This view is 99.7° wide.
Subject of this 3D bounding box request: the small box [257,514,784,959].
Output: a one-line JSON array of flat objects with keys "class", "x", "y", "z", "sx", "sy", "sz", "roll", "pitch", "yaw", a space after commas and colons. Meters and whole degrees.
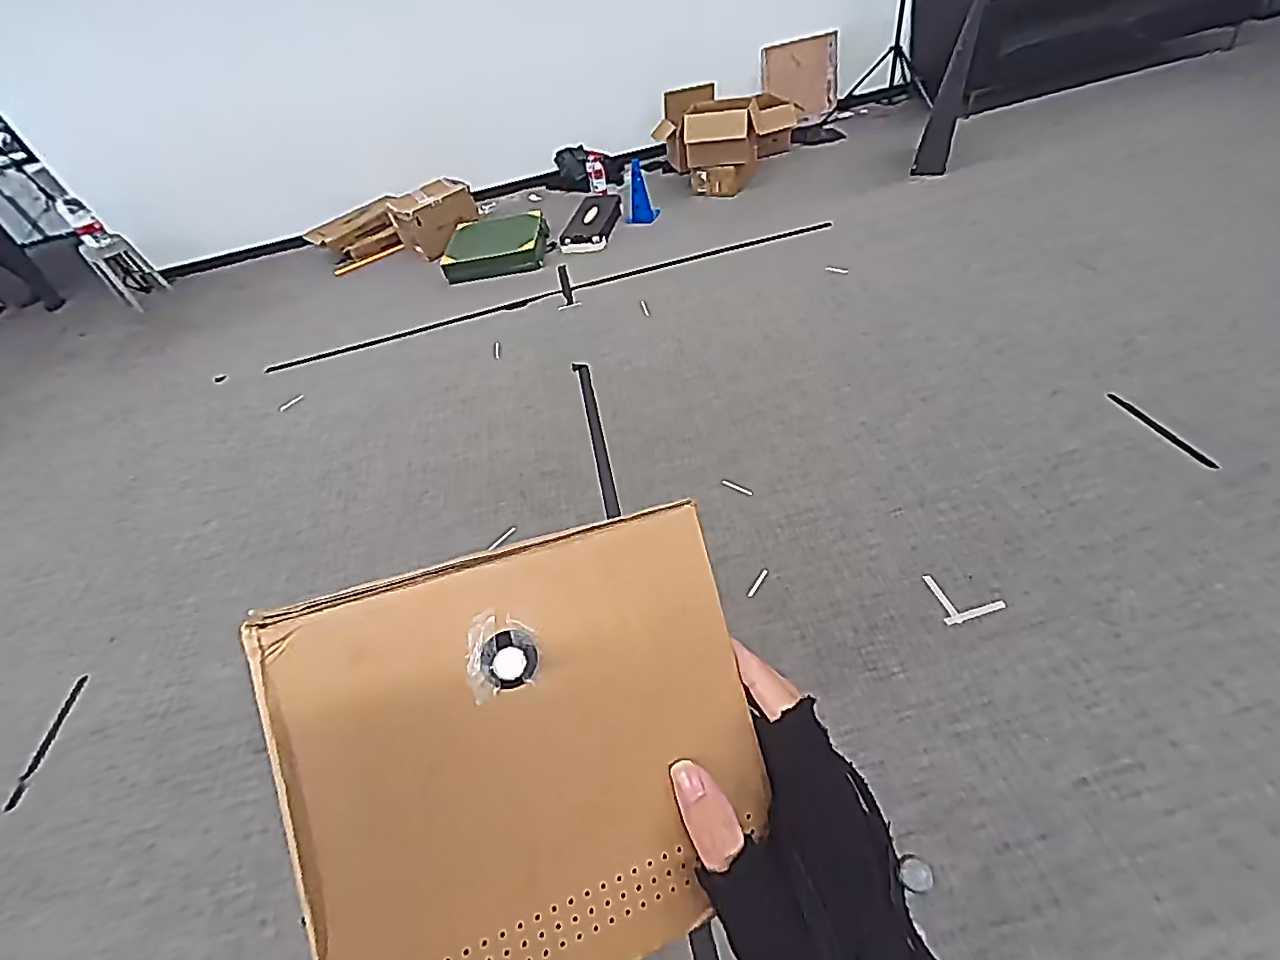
[{"class": "small box", "x": -0.054, "y": 0.125, "z": 0.283, "sx": 0.179, "sy": 0.168, "sz": 0.176, "roll": -14, "pitch": 87, "yaw": -17}]
